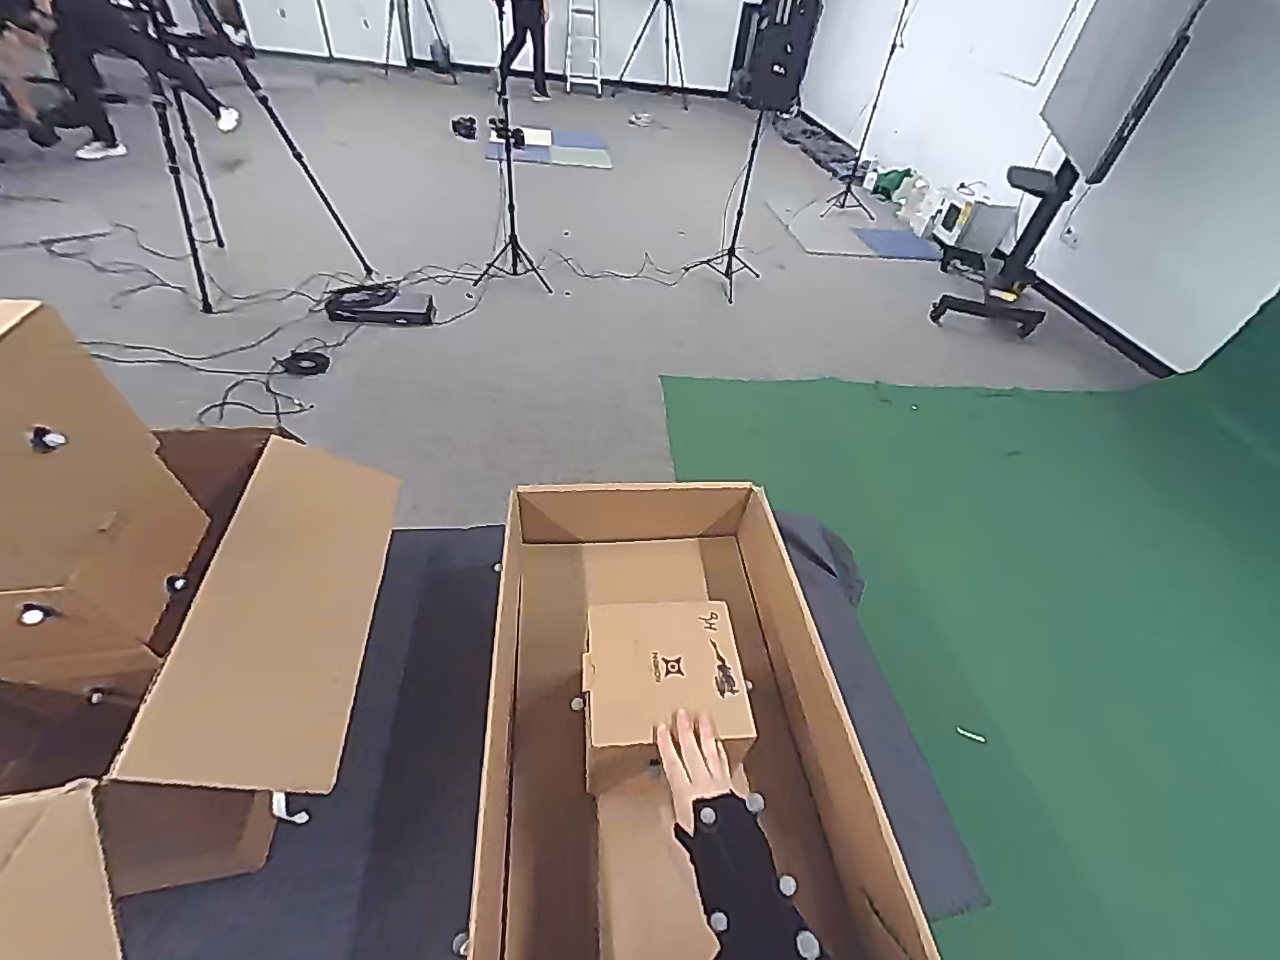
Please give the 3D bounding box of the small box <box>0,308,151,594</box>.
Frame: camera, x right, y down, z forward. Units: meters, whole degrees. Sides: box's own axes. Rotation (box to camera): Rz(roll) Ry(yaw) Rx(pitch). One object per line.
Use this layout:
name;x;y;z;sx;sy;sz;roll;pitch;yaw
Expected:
small box;-0.563;-0.023;0.443;0.168;0.176;0.179;-2;49;-8
